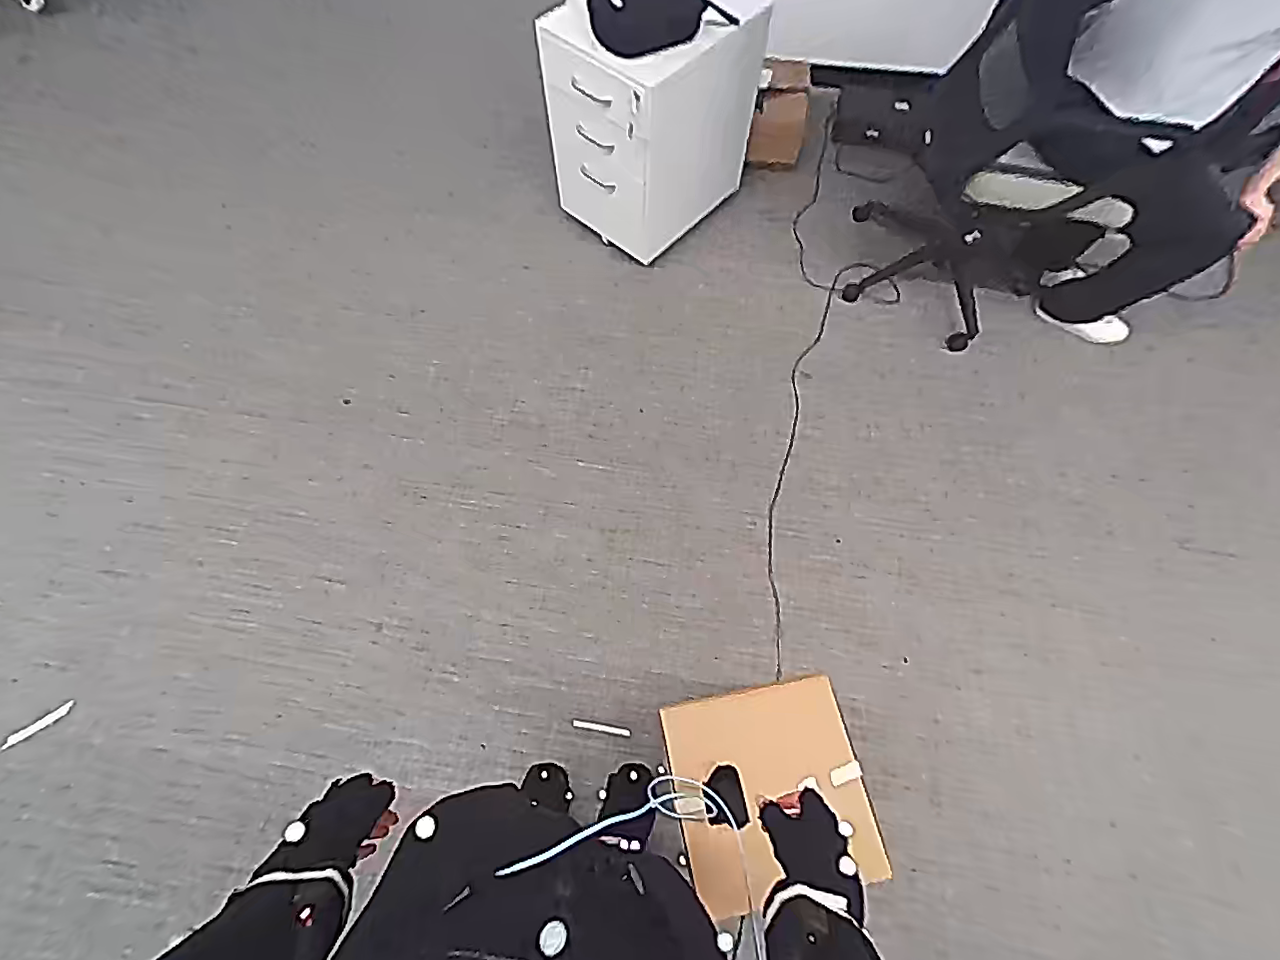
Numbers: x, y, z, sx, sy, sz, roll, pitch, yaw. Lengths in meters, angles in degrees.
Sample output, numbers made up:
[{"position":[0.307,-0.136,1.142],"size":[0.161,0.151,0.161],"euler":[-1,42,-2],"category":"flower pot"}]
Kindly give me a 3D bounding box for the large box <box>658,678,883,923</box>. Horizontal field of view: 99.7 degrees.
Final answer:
[{"position":[0.220,0.604,1.077],"size":[0.320,0.408,0.320],"euler":[-11,65,-2],"category":"large box"}]
